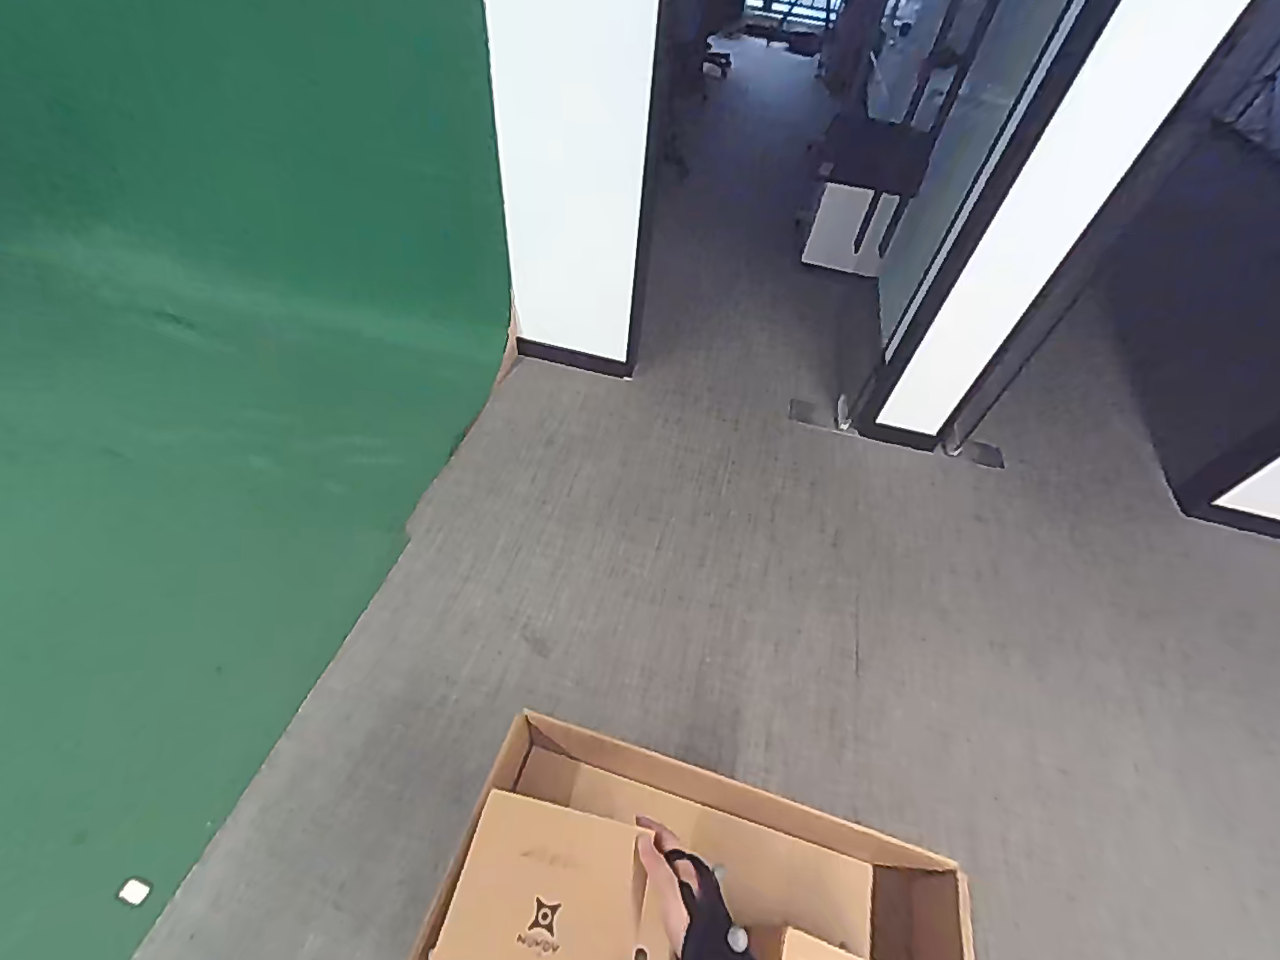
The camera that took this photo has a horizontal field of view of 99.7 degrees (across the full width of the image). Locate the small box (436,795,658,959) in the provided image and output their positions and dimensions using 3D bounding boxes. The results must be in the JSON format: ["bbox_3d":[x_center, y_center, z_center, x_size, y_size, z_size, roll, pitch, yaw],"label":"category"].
[{"bbox_3d":[-0.086,0.434,0.518,0.168,0.176,0.179,13,50,4],"label":"small box"}]
